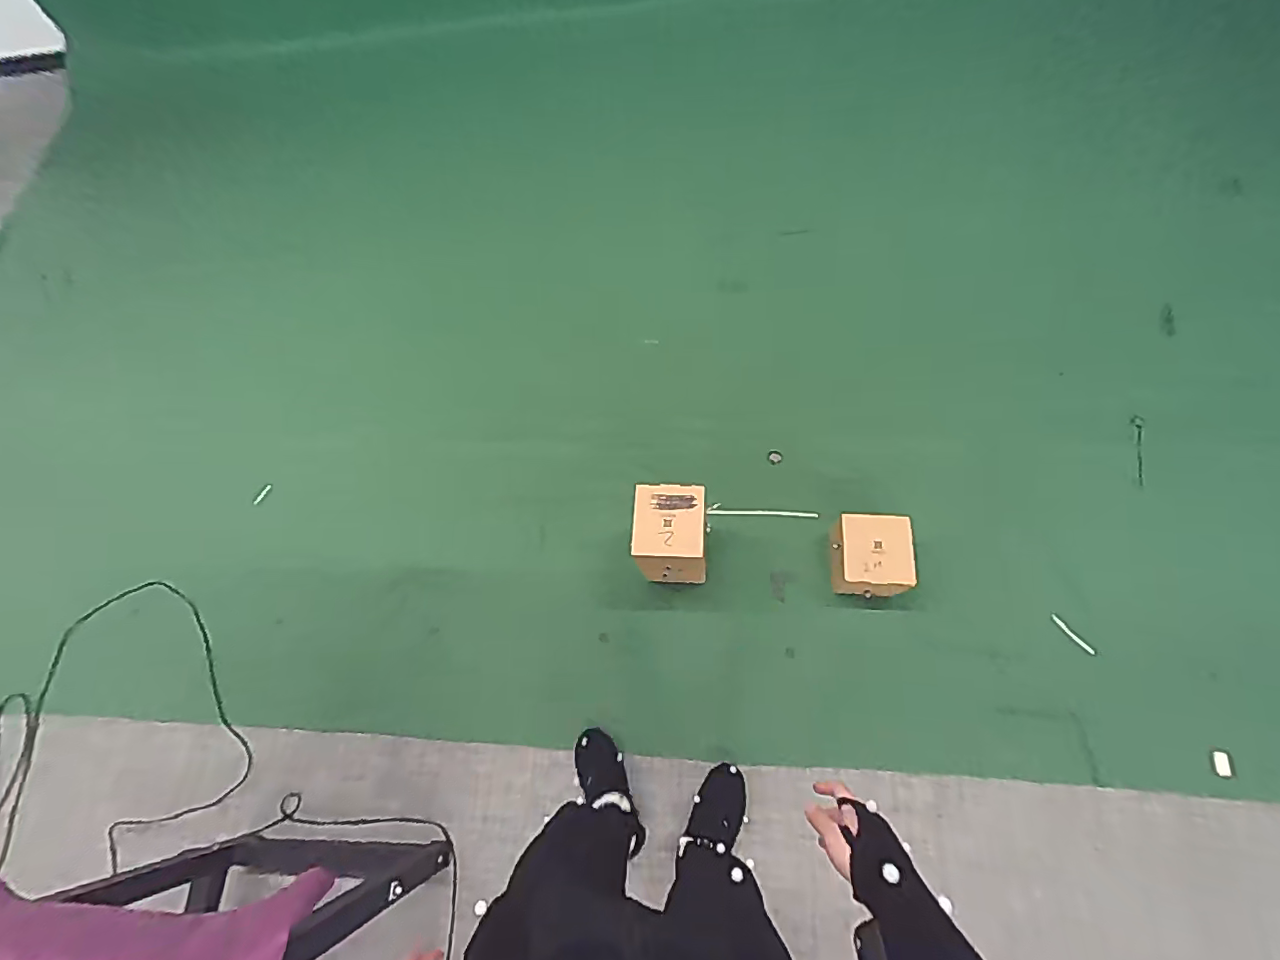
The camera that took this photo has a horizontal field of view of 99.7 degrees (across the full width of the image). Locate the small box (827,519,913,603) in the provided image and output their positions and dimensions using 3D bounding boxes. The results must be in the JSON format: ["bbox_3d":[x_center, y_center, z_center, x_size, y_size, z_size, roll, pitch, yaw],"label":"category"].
[{"bbox_3d":[0.590,0.214,1.409,0.168,0.176,0.179,2,69,7],"label":"small box"}]

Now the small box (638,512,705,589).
[{"bbox_3d":[0.091,0.196,1.475,0.168,0.176,0.179,1,68,7],"label":"small box"}]
